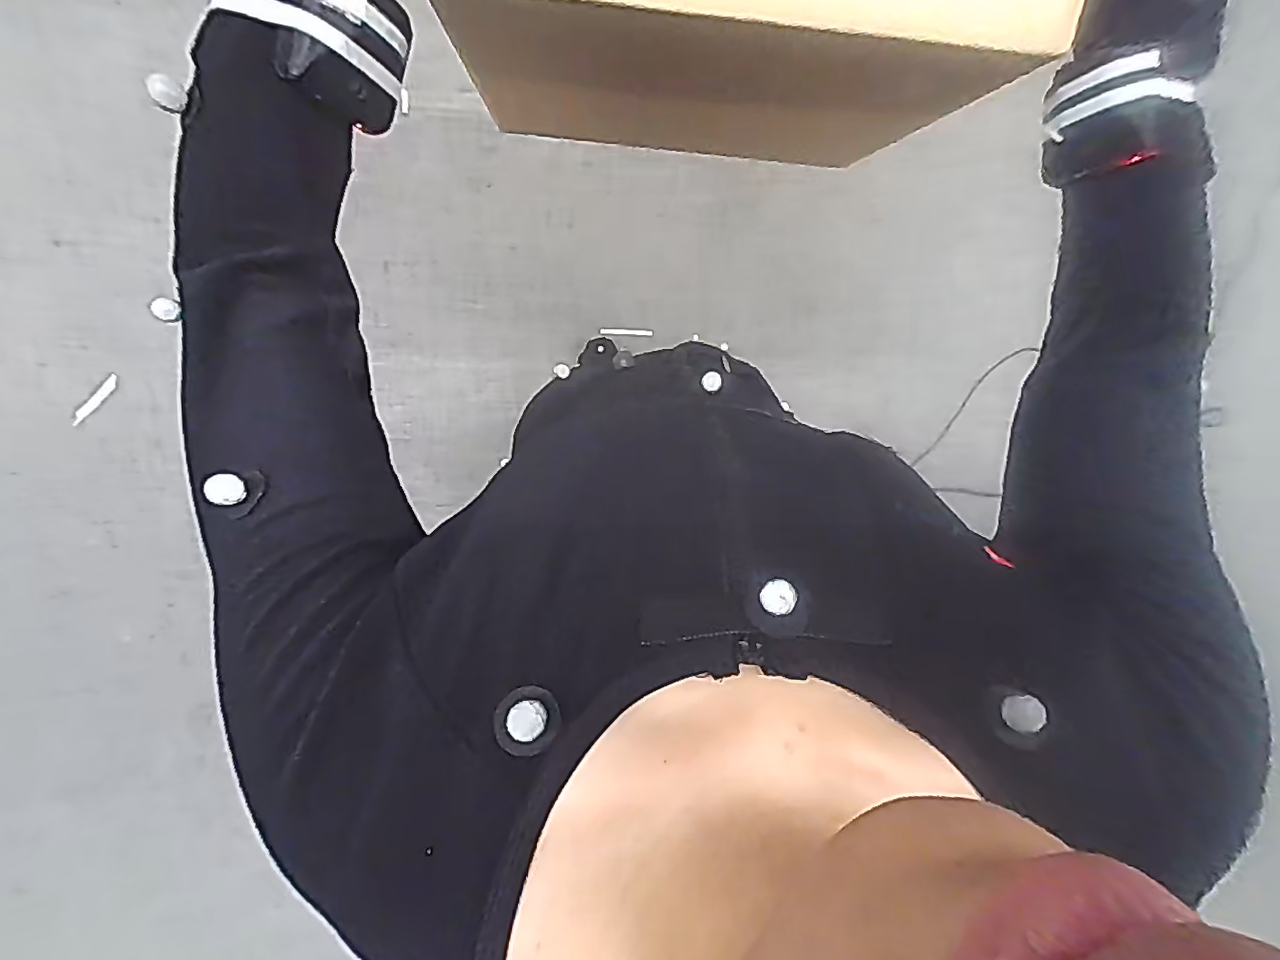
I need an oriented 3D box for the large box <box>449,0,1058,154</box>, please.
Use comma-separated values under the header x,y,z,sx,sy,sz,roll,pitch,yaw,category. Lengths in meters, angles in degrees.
x,y,z,sx,sy,sz,roll,pitch,yaw,category
0.064,-0.482,0.430,0.408,0.320,0.320,1,109,-7,large box
